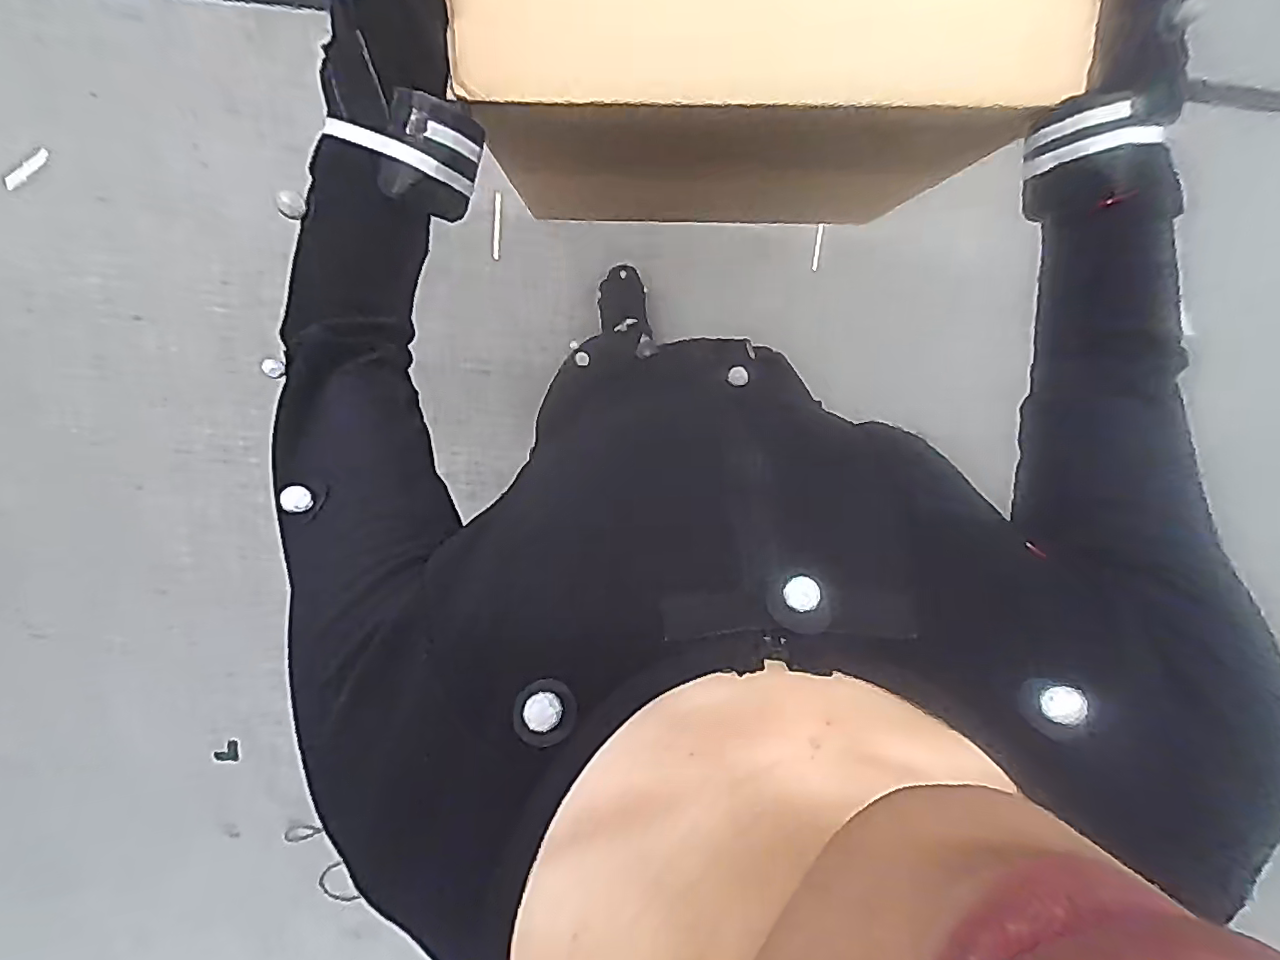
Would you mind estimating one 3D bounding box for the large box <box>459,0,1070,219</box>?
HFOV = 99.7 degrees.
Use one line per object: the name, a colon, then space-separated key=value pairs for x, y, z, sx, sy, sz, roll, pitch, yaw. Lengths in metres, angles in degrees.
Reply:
large box: x=0.075 y=-0.436 z=0.473 sx=0.408 sy=0.320 sz=0.320 roll=-1 pitch=102 yaw=-2
